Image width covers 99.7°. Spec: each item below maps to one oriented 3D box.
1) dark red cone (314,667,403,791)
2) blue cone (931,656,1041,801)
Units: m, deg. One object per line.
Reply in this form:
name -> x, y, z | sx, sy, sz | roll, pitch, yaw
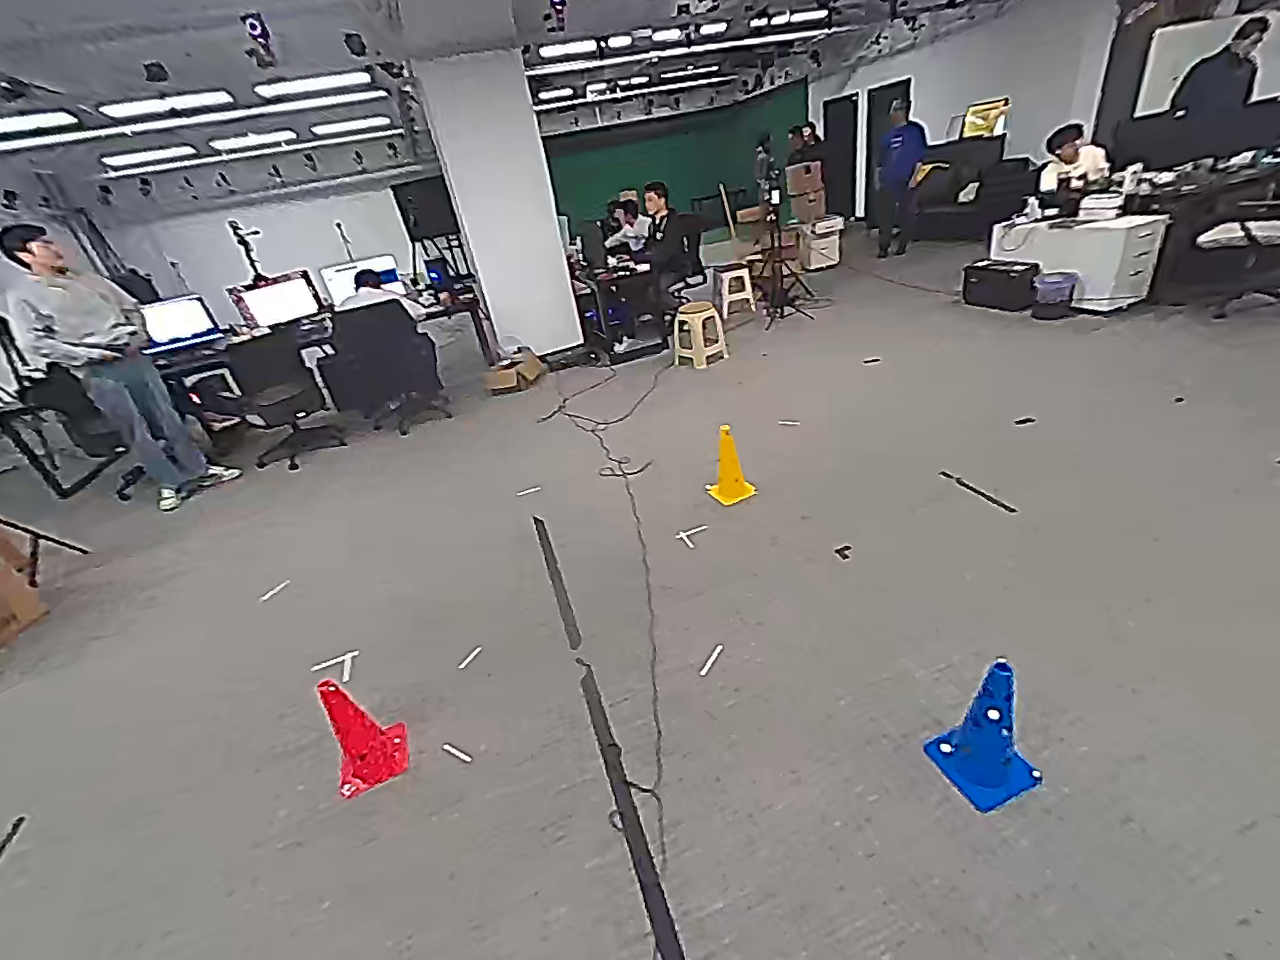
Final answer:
dark red cone -> -0.874, 0.713, 1.616 | 0.201, 0.394, 0.202 | -21, 30, -19
blue cone -> 0.853, 0.571, 1.306 | 0.192, 0.380, 0.193 | -17, 29, -12
